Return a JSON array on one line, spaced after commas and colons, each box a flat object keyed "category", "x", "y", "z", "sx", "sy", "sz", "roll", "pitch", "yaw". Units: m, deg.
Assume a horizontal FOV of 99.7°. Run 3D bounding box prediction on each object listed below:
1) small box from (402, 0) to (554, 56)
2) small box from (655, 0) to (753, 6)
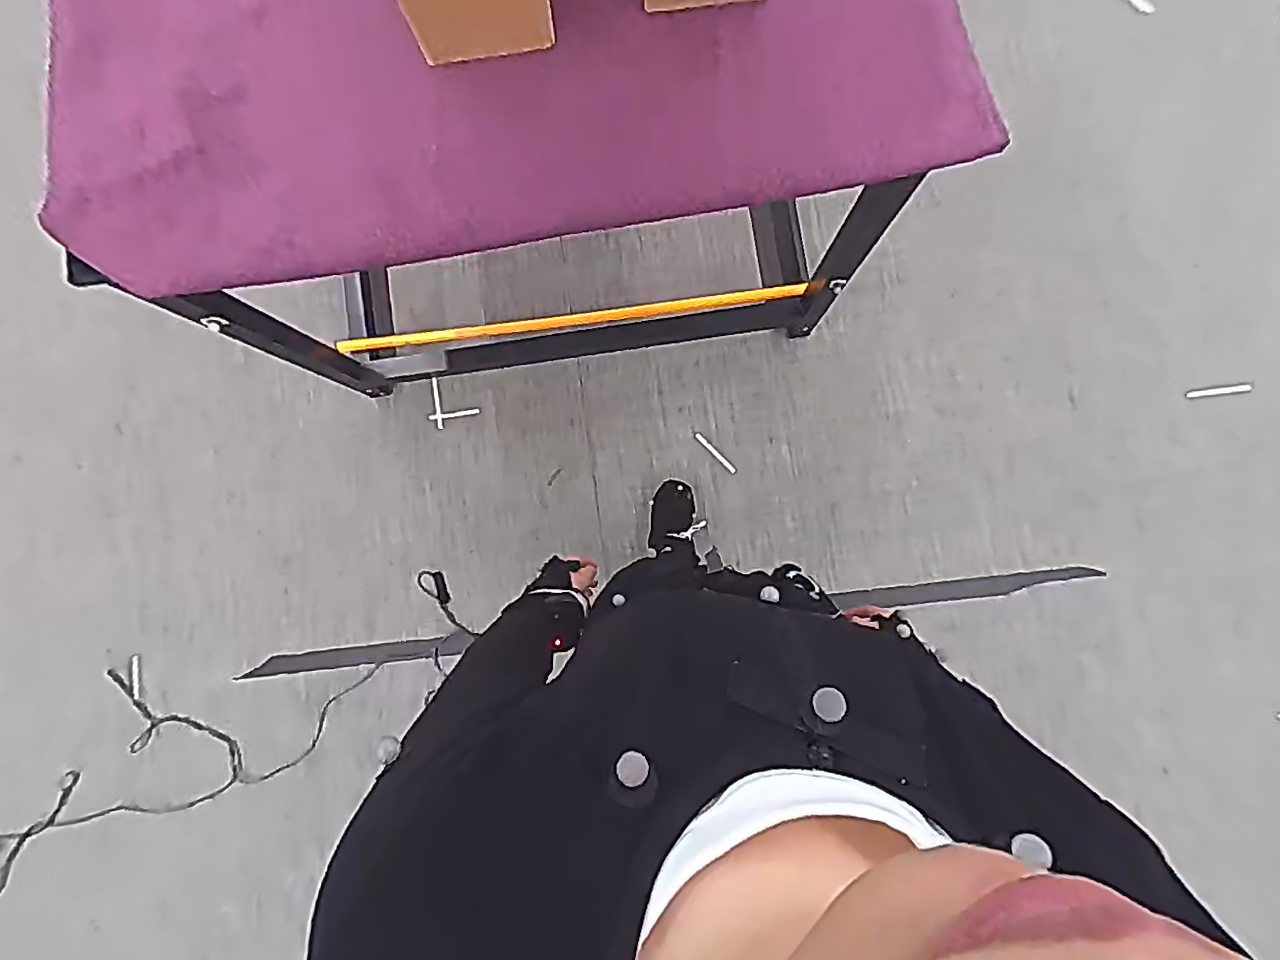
[{"category": "small box", "x": -0.213, "y": -0.660, "z": 0.654, "sx": 0.179, "sy": 0.176, "sz": 0.168, "roll": -8, "pitch": 85, "yaw": 1}, {"category": "small box", "x": 0.082, "y": -0.726, "z": 0.645, "sx": 0.168, "sy": 0.176, "sz": 0.179, "roll": -4, "pitch": 86, "yaw": 2}]
